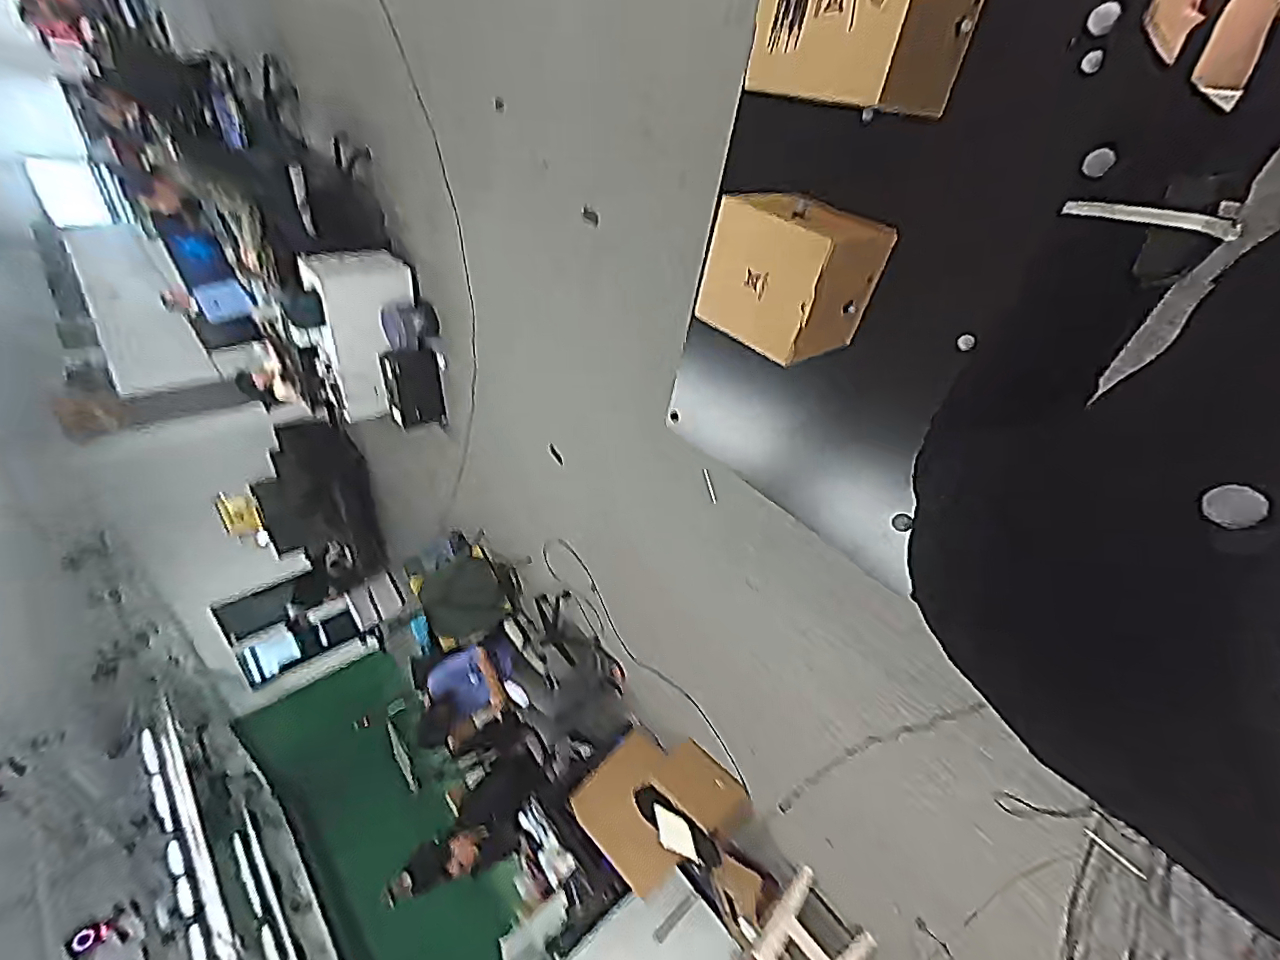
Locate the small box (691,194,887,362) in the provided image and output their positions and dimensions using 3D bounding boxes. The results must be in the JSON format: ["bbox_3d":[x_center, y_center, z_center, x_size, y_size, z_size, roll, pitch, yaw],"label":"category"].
[{"bbox_3d":[0.206,-0.291,0.766,0.179,0.176,0.168,40,136,30],"label":"small box"}]
